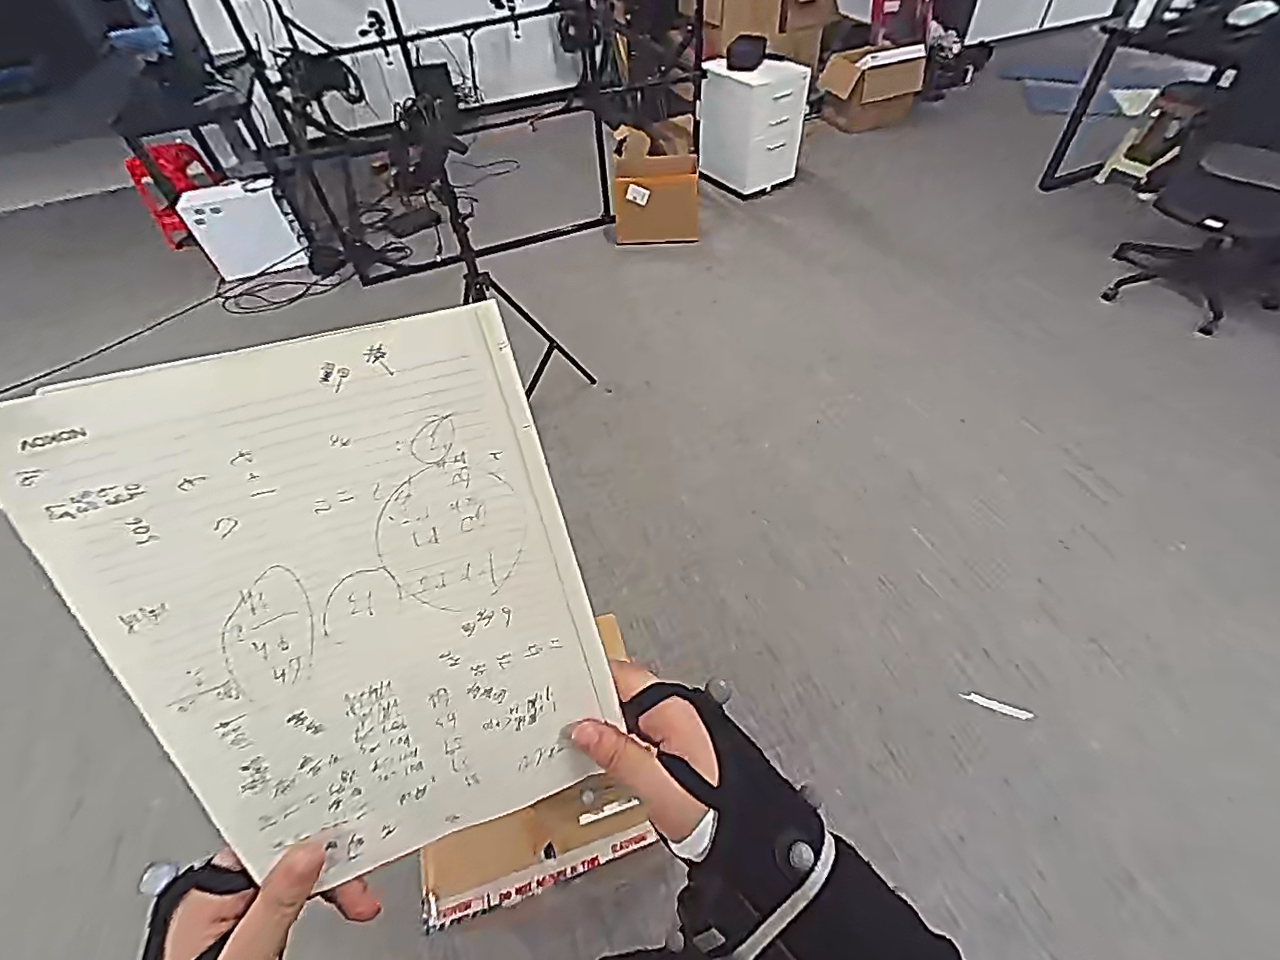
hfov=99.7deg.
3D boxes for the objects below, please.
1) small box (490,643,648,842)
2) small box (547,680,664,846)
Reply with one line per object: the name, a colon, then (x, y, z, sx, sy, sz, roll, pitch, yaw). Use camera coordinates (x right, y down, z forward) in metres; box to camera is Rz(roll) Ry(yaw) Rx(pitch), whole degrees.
small box: (-0.092, 0.347, 0.713, 0.168, 0.176, 0.179, -13, 53, -10)
small box: (-0.072, 0.444, 0.845, 0.179, 0.176, 0.168, -17, 52, -12)
